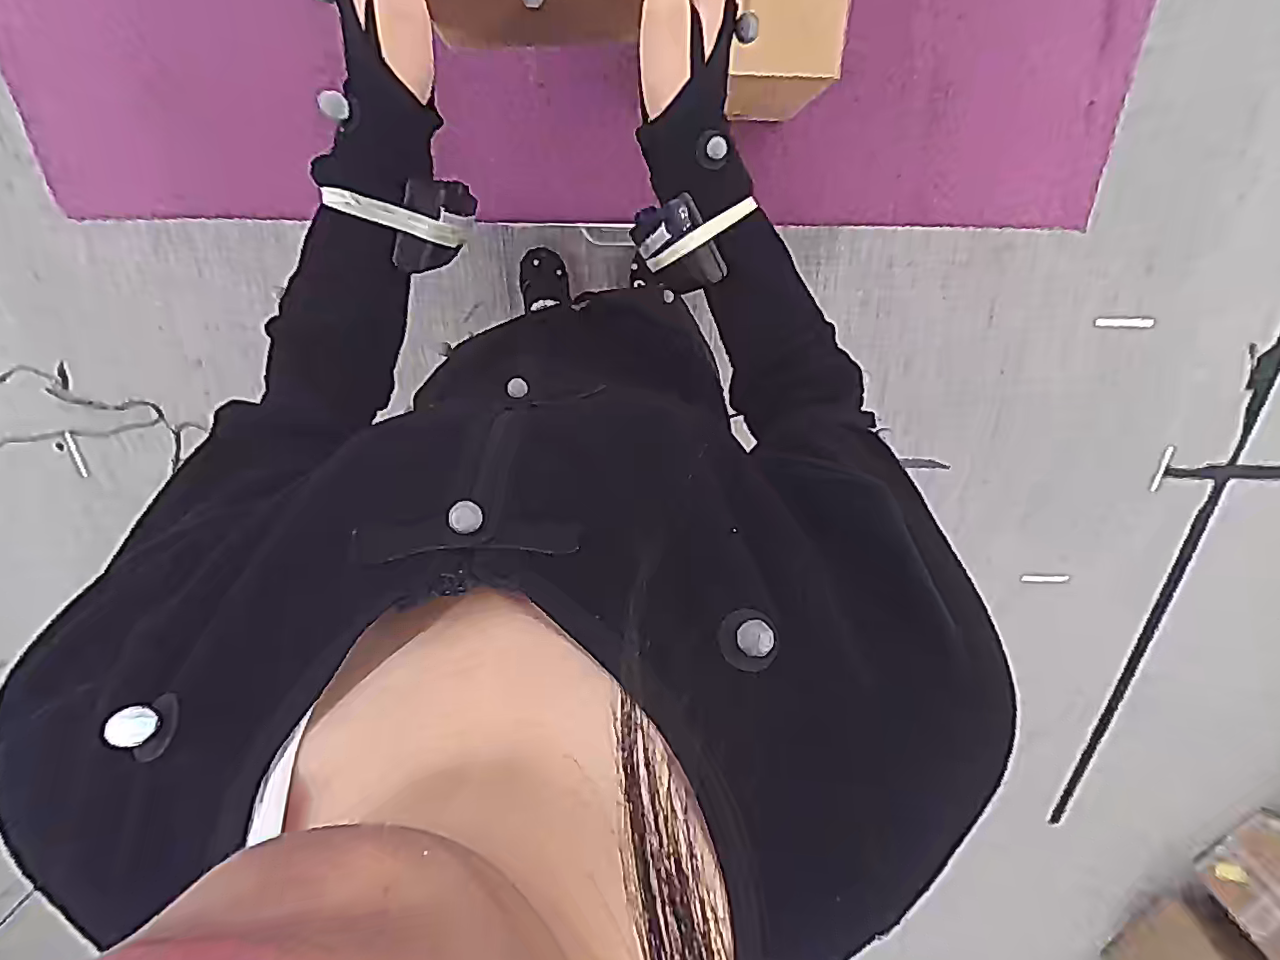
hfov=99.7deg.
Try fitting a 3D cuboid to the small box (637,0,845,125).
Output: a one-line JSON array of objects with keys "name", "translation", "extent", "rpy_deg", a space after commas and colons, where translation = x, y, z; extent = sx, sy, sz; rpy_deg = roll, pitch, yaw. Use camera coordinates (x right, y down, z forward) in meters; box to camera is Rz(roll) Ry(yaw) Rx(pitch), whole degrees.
[{"name": "small box", "translation": [0.083, -0.447, 0.492], "extent": [0.168, 0.176, 0.179], "rpy_deg": [2, 114, -1]}]

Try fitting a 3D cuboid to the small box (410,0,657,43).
[{"name": "small box", "translation": [-0.071, -0.394, 0.328], "extent": [0.179, 0.176, 0.168], "rpy_deg": [-4, 113, -2]}]
